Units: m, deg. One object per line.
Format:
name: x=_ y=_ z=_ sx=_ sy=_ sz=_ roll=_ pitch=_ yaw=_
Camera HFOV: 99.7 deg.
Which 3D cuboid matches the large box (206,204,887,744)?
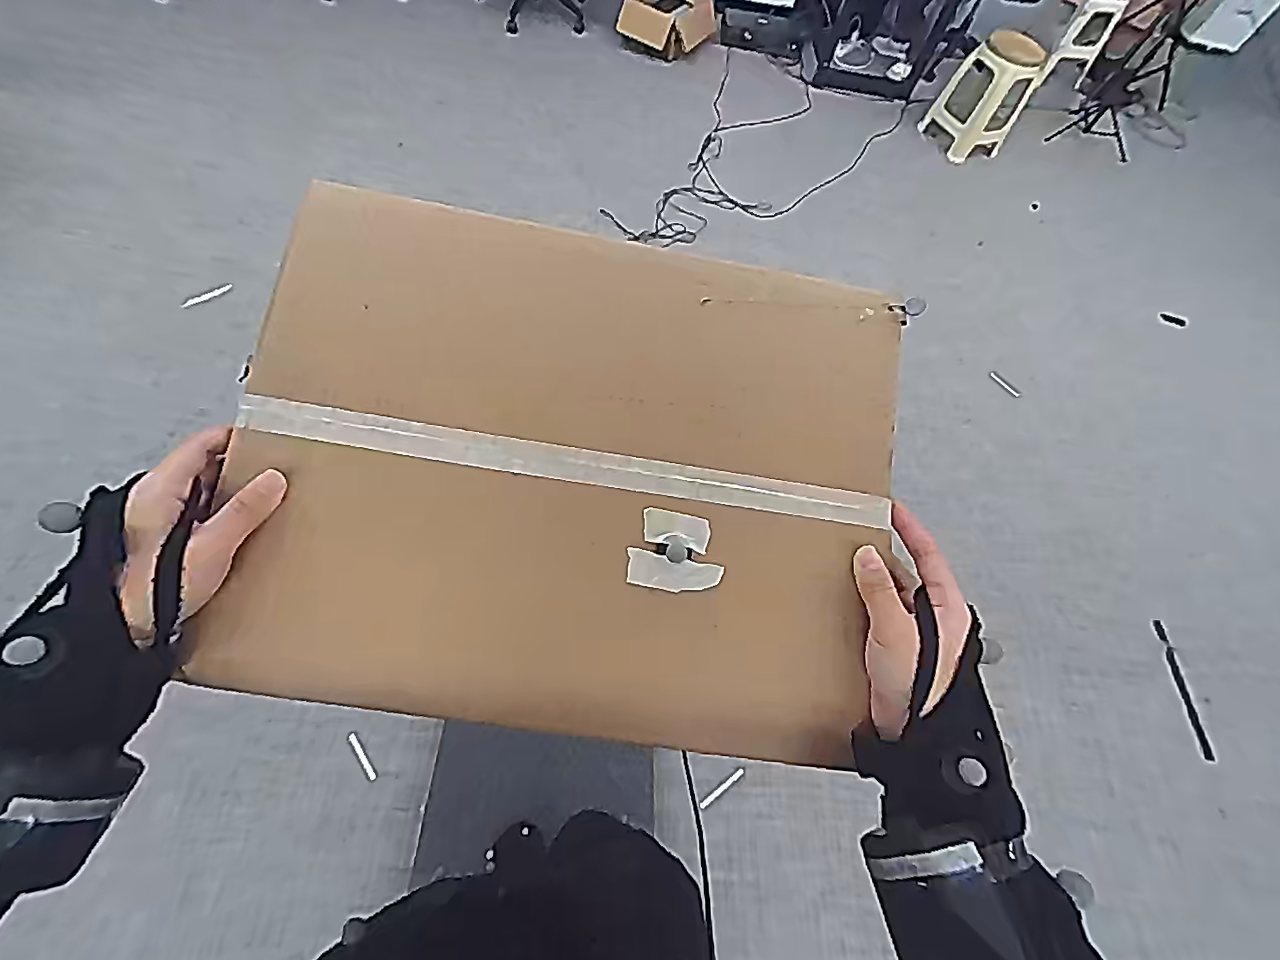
large box: x=-0.052 y=0.014 z=0.496 sx=0.408 sy=0.320 sz=0.320 roll=9 pitch=81 yaw=-4
